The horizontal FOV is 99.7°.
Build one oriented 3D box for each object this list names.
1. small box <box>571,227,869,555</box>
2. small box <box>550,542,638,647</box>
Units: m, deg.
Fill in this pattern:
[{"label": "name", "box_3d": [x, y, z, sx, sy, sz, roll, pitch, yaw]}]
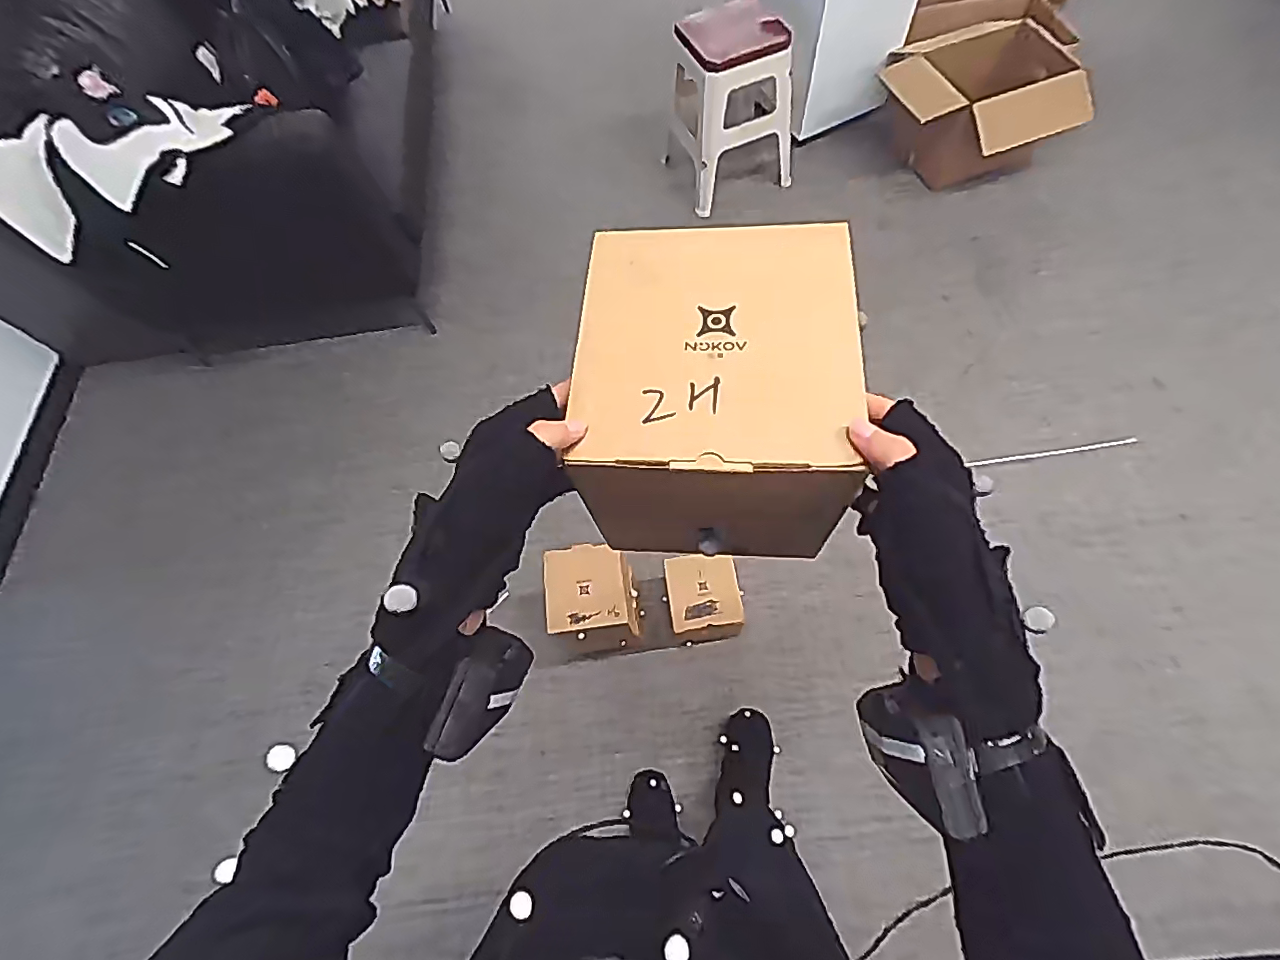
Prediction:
[{"label": "small box", "box_3d": [0.058, -0.056, 0.401, 0.168, 0.176, 0.179, 2, 66, 9]}, {"label": "small box", "box_3d": [-0.099, 0.255, 1.188, 0.168, 0.176, 0.179, -8, 63, 2]}]
